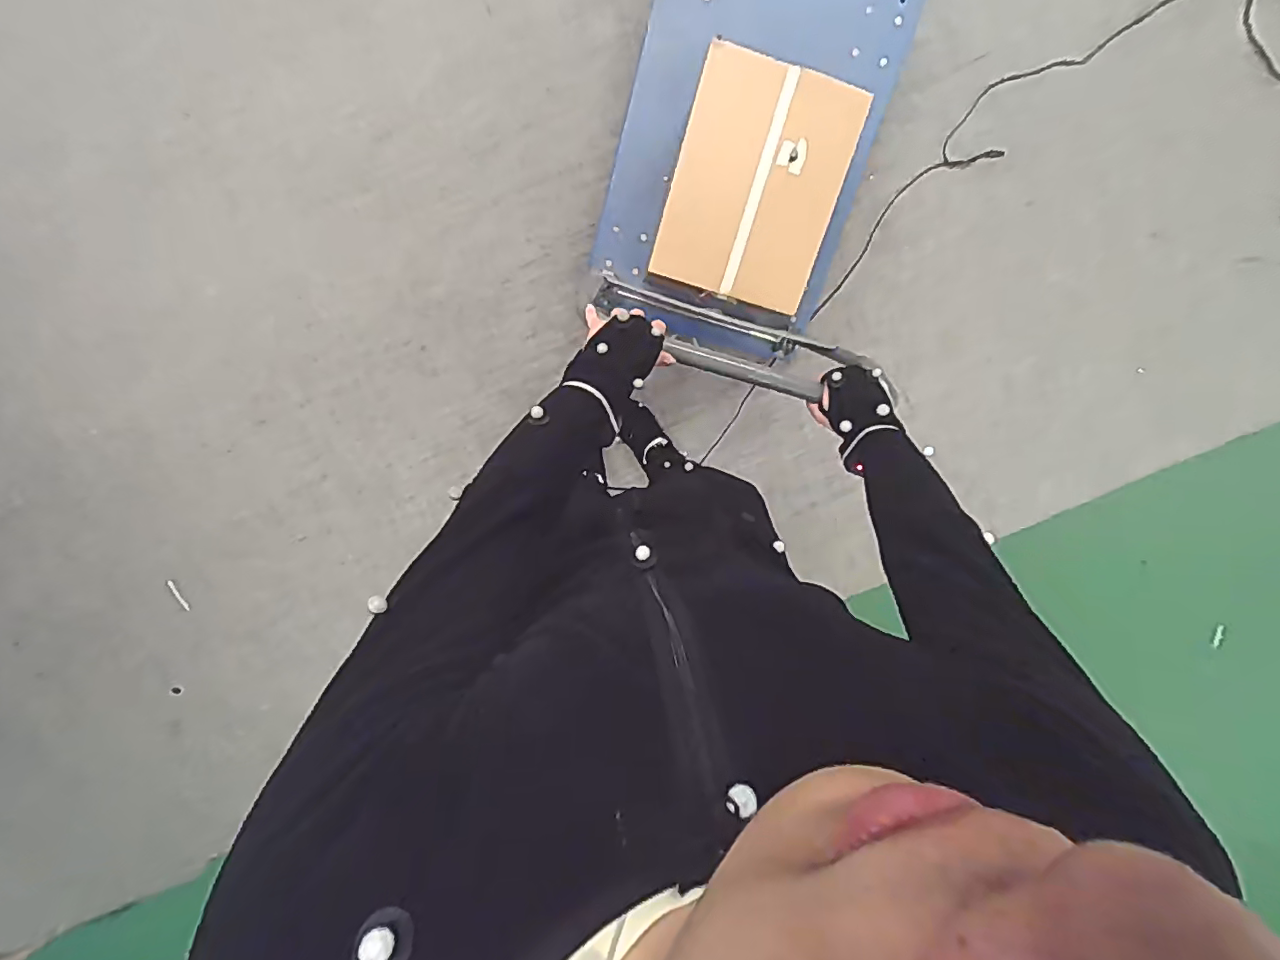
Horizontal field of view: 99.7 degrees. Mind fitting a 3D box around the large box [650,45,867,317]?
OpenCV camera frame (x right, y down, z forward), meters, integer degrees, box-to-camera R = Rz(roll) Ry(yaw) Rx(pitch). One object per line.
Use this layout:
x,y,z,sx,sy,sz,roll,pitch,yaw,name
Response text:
0.216,-0.589,1.161,0.320,0.320,0.408,15,105,-6,large box
